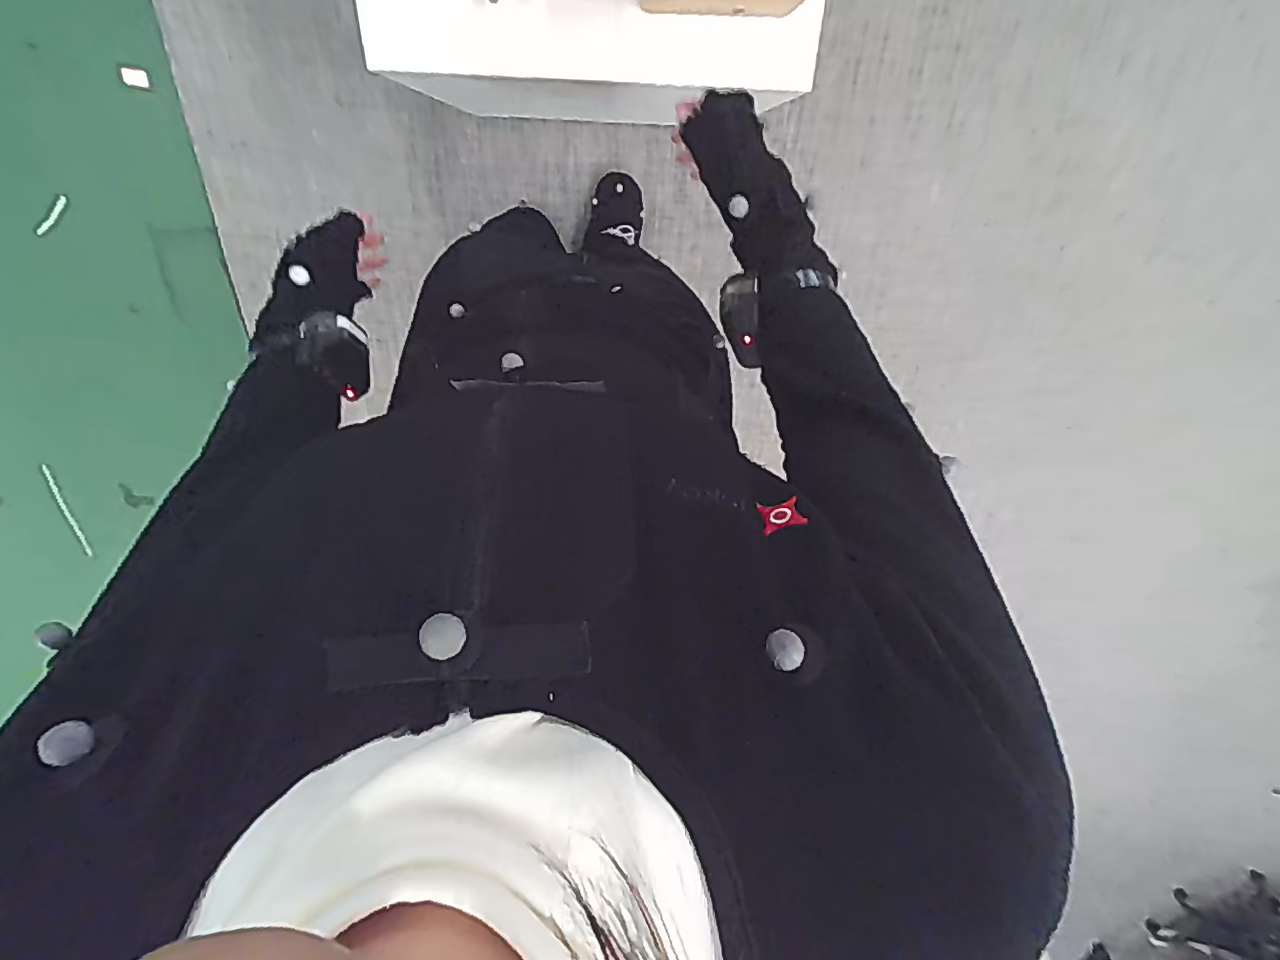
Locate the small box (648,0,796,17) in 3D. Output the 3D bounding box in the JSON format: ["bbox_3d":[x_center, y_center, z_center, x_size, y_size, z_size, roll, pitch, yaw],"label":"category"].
[{"bbox_3d":[0.085,-0.548,0.477,0.168,0.176,0.179,0,119,-2],"label":"small box"}]
